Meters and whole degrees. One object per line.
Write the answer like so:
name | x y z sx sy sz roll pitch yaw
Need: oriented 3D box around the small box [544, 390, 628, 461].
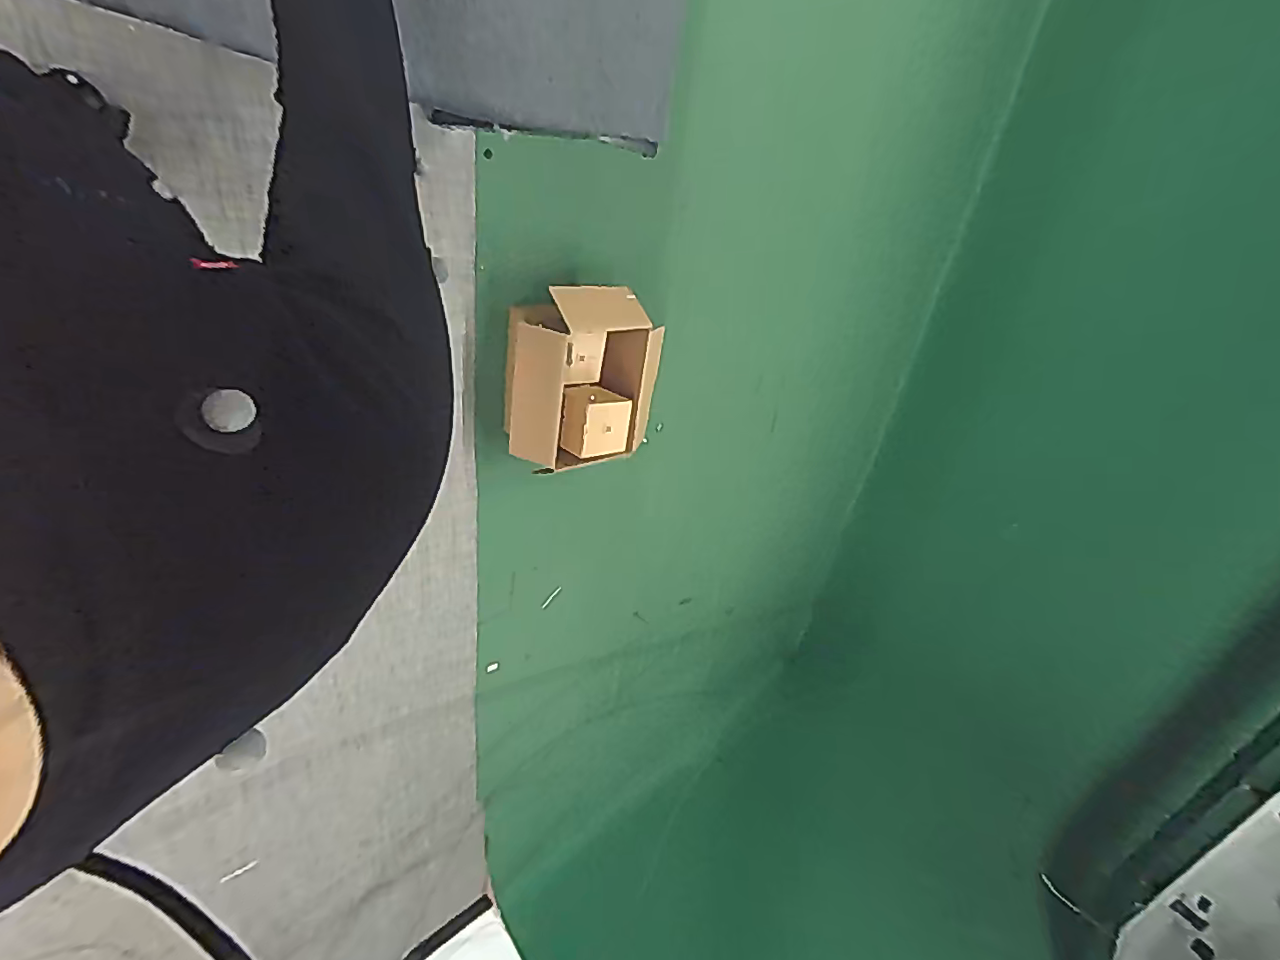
small box | -0.167 -0.173 1.649 0.179 0.176 0.168 -13 121 -44
